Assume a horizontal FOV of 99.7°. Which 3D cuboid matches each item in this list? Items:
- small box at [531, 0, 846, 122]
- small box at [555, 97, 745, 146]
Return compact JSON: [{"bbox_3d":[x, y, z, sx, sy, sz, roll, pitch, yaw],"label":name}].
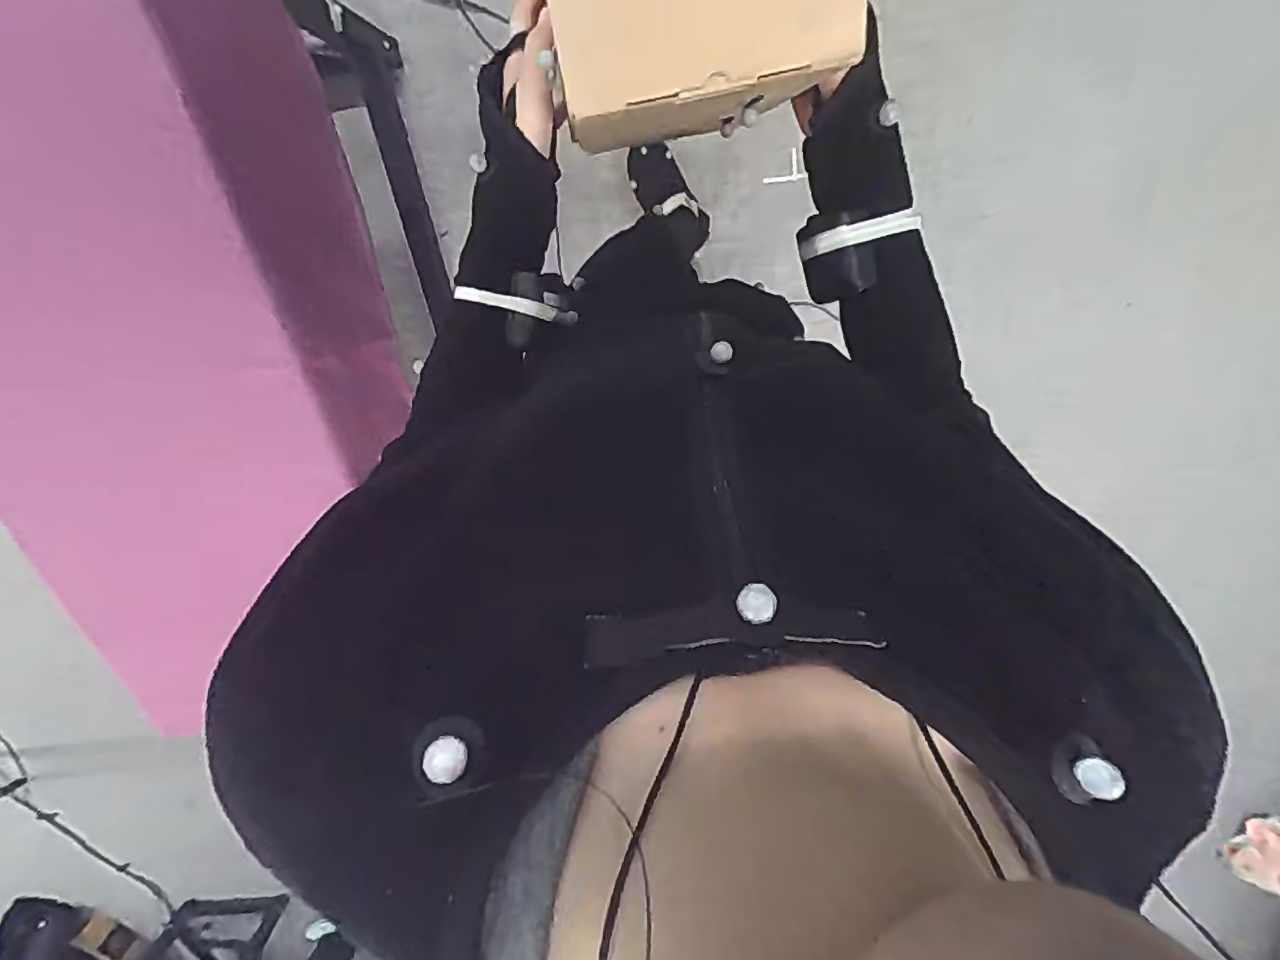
[{"bbox_3d":[0.014,-0.335,0.327,0.168,0.176,0.179,-10,116,2],"label":"small box"},{"bbox_3d":[0.006,-0.407,0.471,0.179,0.176,0.168,-10,116,3],"label":"small box"}]
